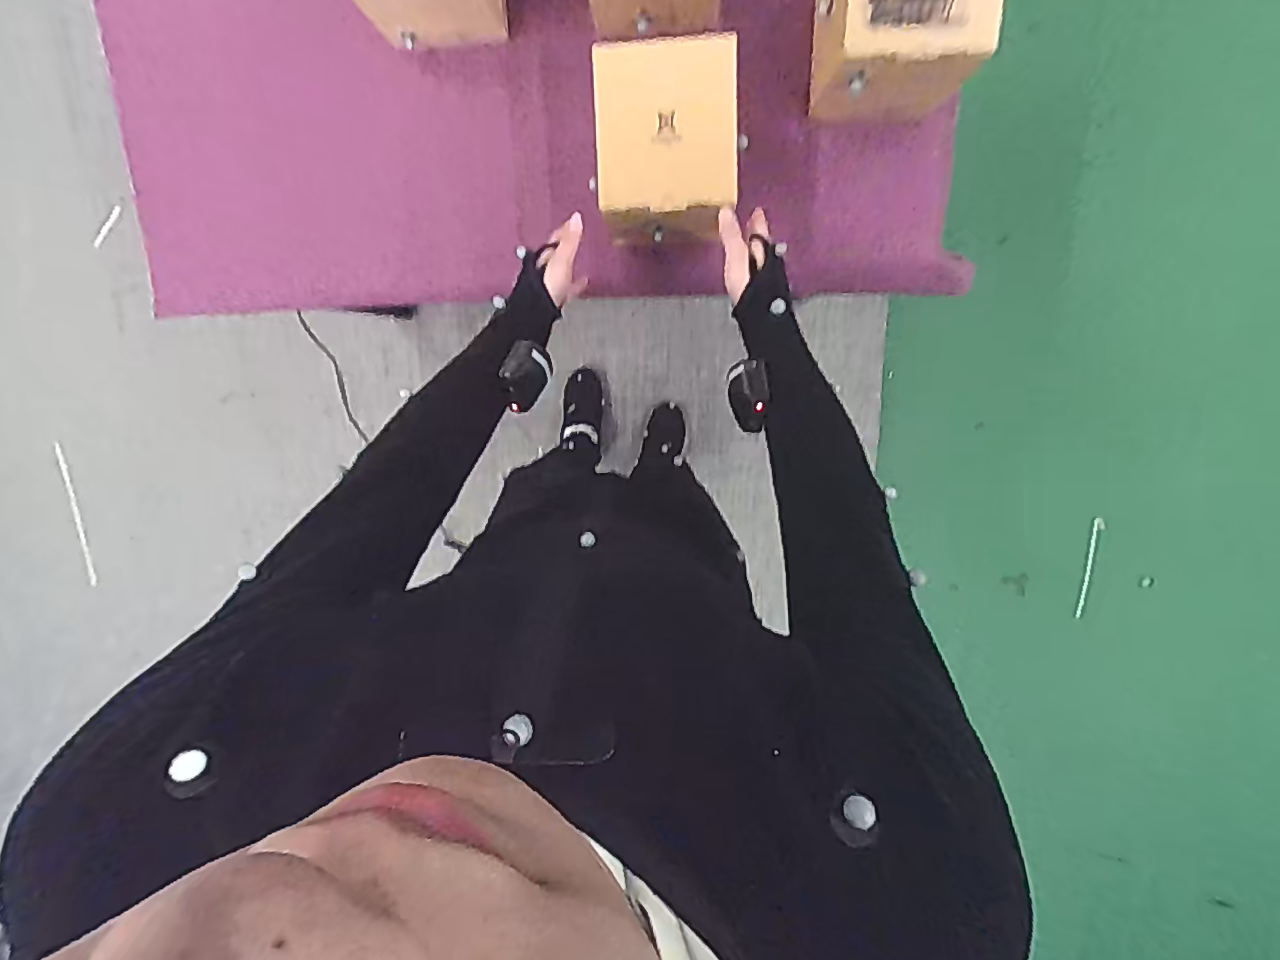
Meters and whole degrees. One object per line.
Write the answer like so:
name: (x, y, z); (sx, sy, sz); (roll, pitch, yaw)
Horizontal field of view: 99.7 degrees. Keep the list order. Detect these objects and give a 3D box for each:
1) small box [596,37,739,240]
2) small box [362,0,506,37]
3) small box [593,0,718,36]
small box: (0.035, -0.428, 0.706); (0.168, 0.176, 0.179); (-2, 102, 3)
small box: (-0.270, -0.680, 0.660); (0.168, 0.176, 0.179); (-2, 102, 3)
small box: (0.014, -0.685, 0.649); (0.168, 0.176, 0.179); (-2, 104, 4)
